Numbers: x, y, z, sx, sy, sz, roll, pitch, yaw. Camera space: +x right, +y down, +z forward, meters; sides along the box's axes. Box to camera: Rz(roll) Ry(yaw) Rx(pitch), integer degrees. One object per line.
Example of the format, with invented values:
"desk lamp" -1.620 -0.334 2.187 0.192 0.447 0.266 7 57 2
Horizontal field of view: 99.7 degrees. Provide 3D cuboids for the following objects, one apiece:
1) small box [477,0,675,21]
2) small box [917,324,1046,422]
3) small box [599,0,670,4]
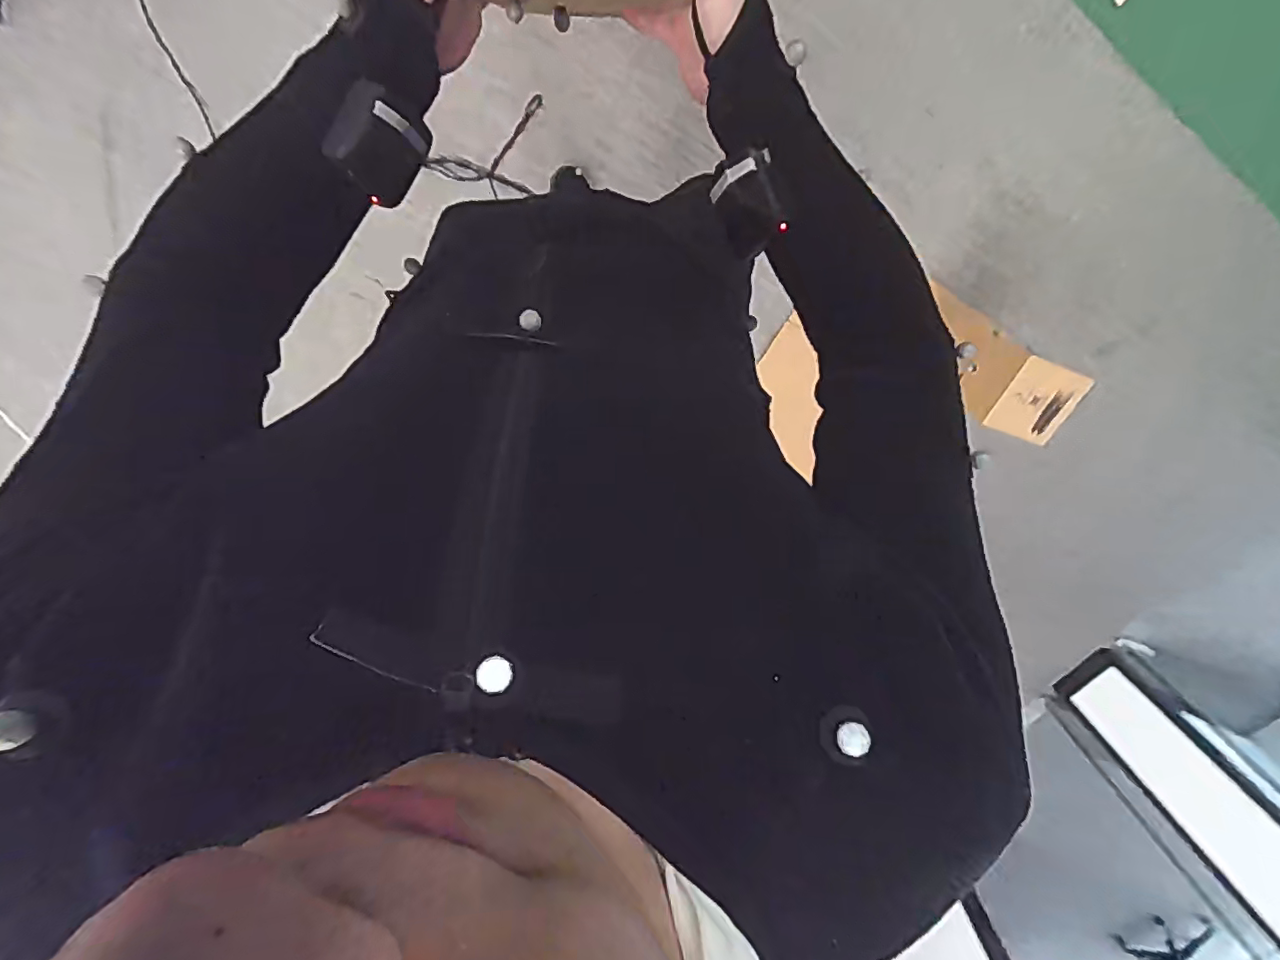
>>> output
"small box" -0.049 -0.496 0.442 0.168 0.176 0.179 0 127 -2
"small box" 0.844 -0.274 1.358 0.179 0.176 0.168 19 118 -15
"small box" -0.045 -0.397 0.310 0.168 0.176 0.179 0 126 -2
